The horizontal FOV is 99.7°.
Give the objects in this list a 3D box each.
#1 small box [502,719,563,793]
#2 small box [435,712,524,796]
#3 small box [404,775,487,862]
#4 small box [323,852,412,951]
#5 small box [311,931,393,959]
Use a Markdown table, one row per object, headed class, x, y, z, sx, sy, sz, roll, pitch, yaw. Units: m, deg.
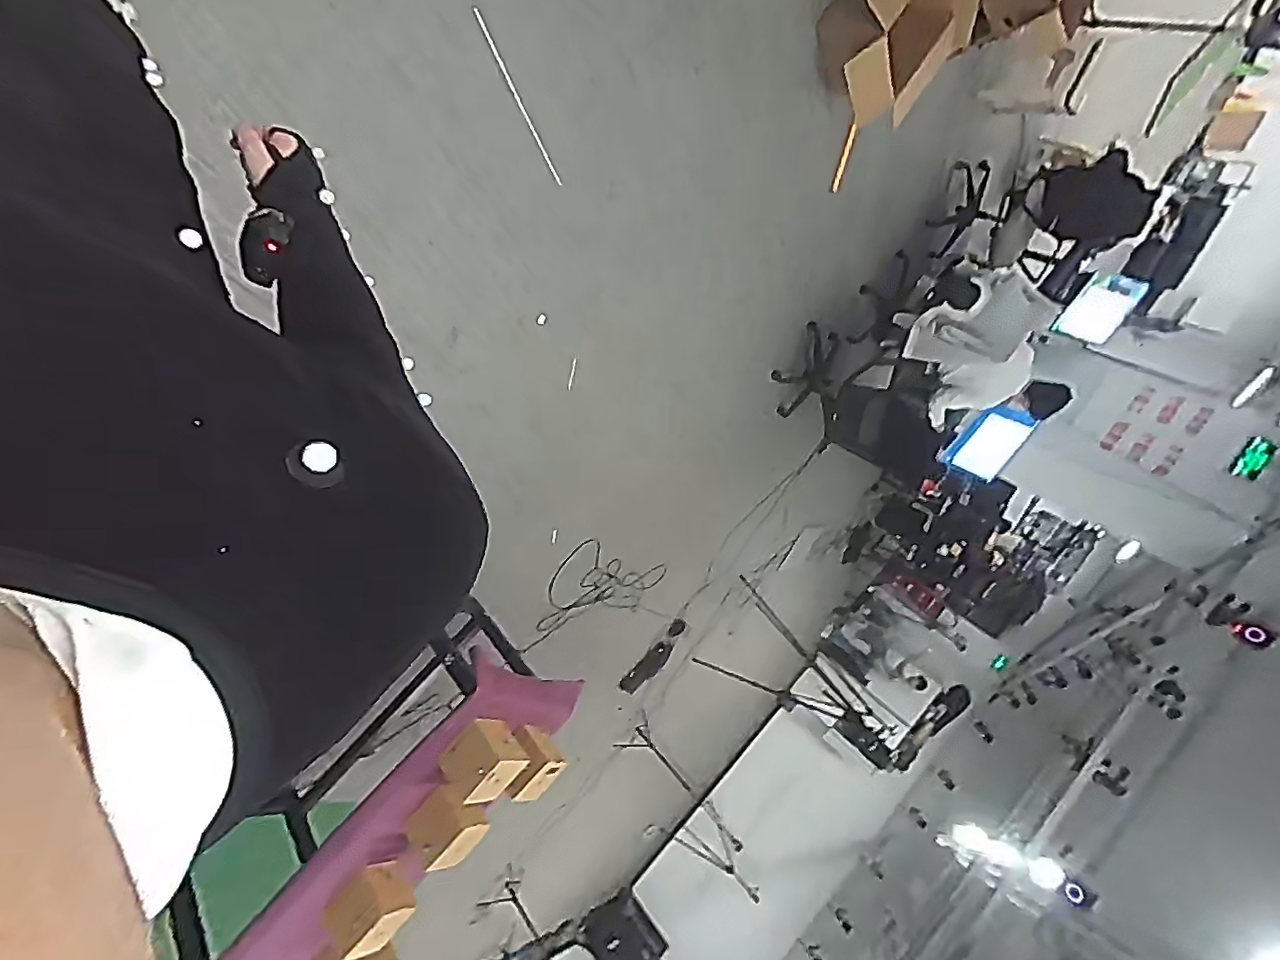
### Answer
| class | x | y | z | sx | sy | sz | roll | pitch | yaw |
| --- | --- | --- | --- | --- | --- | --- | --- | --- | --- |
| small box | -0.418 | 0.991 | 1.951 | 0.179 | 0.176 | 0.168 | -45 | 147 | -7 |
| small box | -0.506 | 0.858 | 1.707 | 0.168 | 0.176 | 0.179 | -47 | 149 | -6 |
| small box | -0.650 | 1.114 | 1.787 | 0.179 | 0.176 | 0.168 | -46 | 148 | -8 |
| small box | -0.881 | 1.344 | 1.737 | 0.179 | 0.176 | 0.168 | -47 | 147 | -9 |
| small box | -1.006 | 1.646 | 1.877 | 0.179 | 0.176 | 0.168 | -46 | 146 | -10 |
